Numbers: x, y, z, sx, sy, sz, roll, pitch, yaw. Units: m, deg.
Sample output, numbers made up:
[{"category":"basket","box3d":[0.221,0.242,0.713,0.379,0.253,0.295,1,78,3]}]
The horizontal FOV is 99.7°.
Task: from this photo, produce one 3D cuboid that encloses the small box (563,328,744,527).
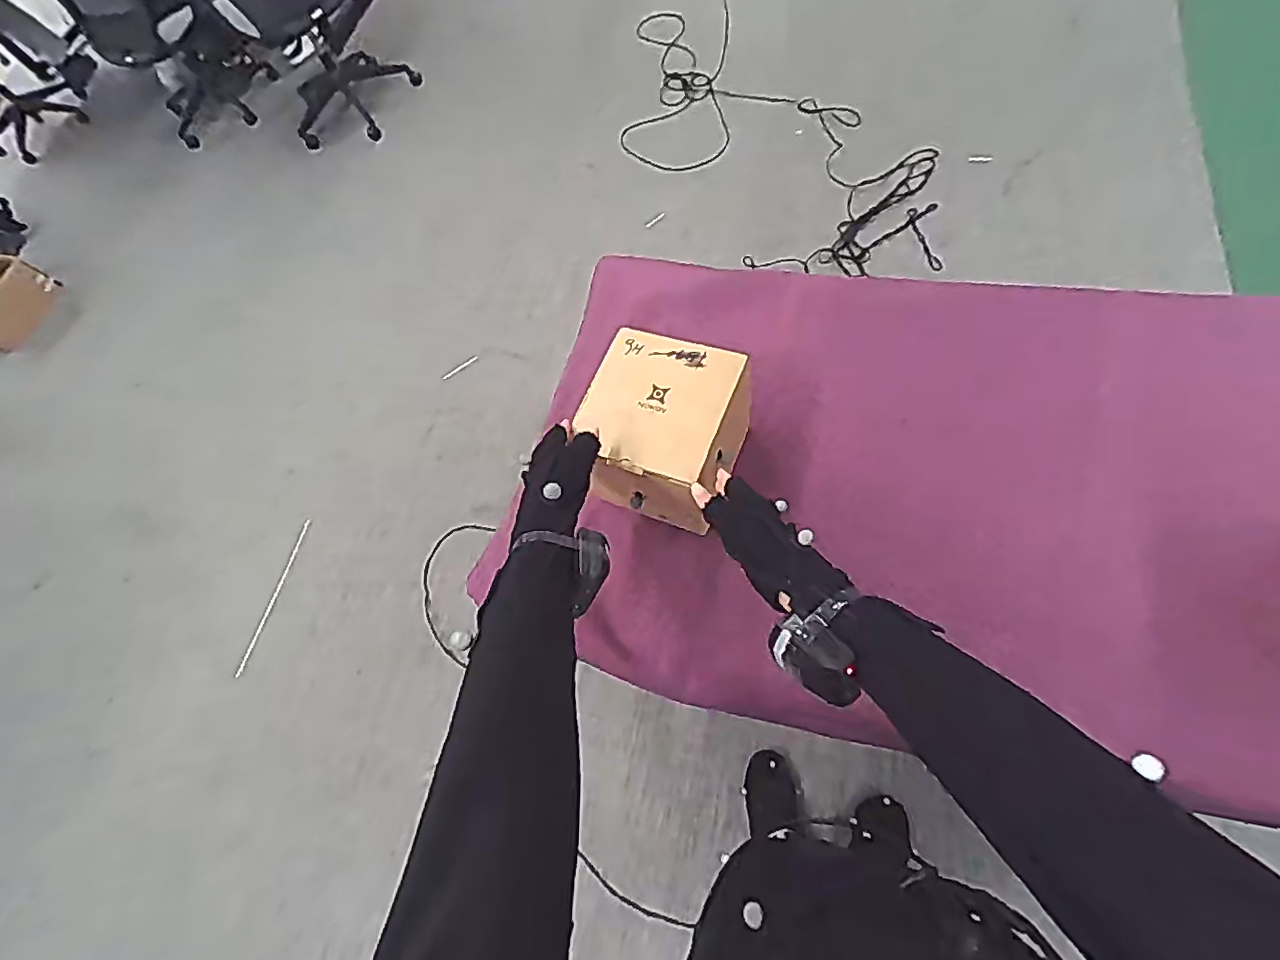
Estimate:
[{"category":"small box","box3d":[0.031,-0.058,0.688,0.168,0.176,0.179,18,72,18]}]
